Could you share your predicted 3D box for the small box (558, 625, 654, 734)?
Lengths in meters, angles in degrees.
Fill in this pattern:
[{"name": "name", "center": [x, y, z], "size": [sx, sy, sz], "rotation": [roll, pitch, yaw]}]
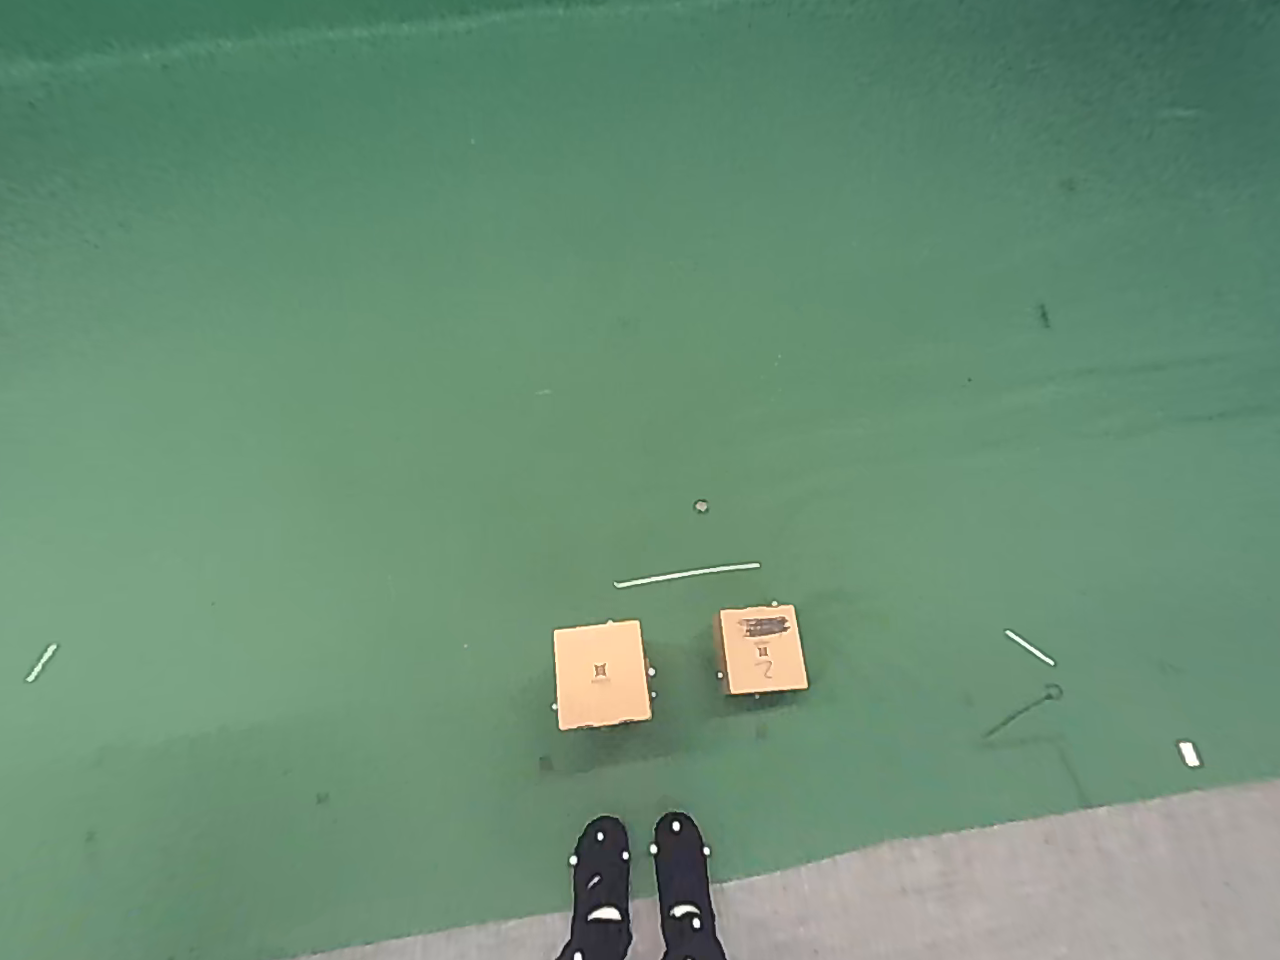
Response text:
[{"name": "small box", "center": [-0.065, 0.393, 1.061], "size": [0.168, 0.176, 0.179], "rotation": [-7, 67, -1]}]
